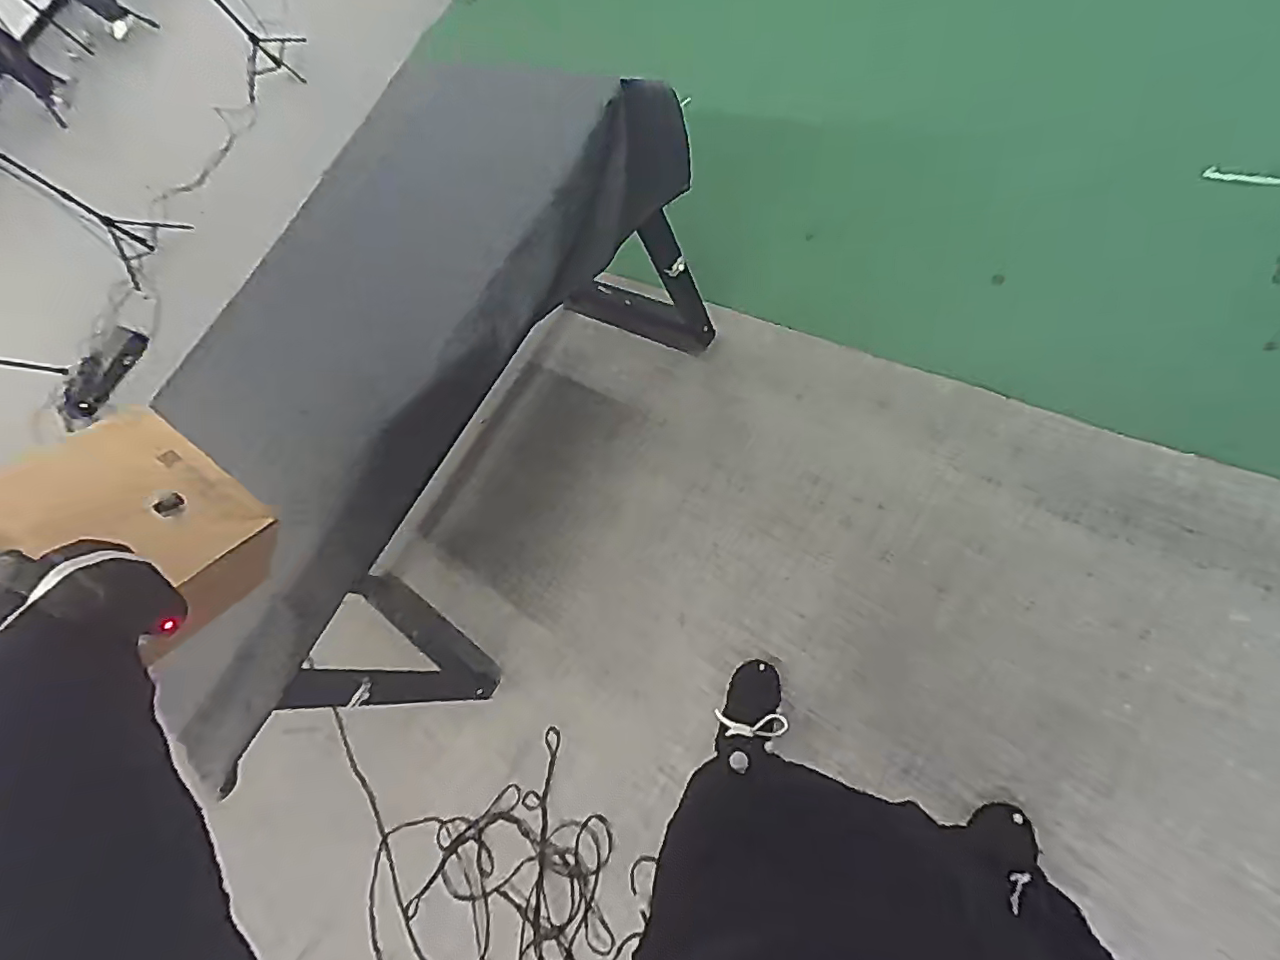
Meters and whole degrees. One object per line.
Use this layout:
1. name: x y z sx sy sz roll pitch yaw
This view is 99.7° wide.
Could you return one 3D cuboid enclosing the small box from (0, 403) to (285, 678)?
1. small box: -0.489 0.058 0.532 0.168 0.176 0.179 45 132 -6
